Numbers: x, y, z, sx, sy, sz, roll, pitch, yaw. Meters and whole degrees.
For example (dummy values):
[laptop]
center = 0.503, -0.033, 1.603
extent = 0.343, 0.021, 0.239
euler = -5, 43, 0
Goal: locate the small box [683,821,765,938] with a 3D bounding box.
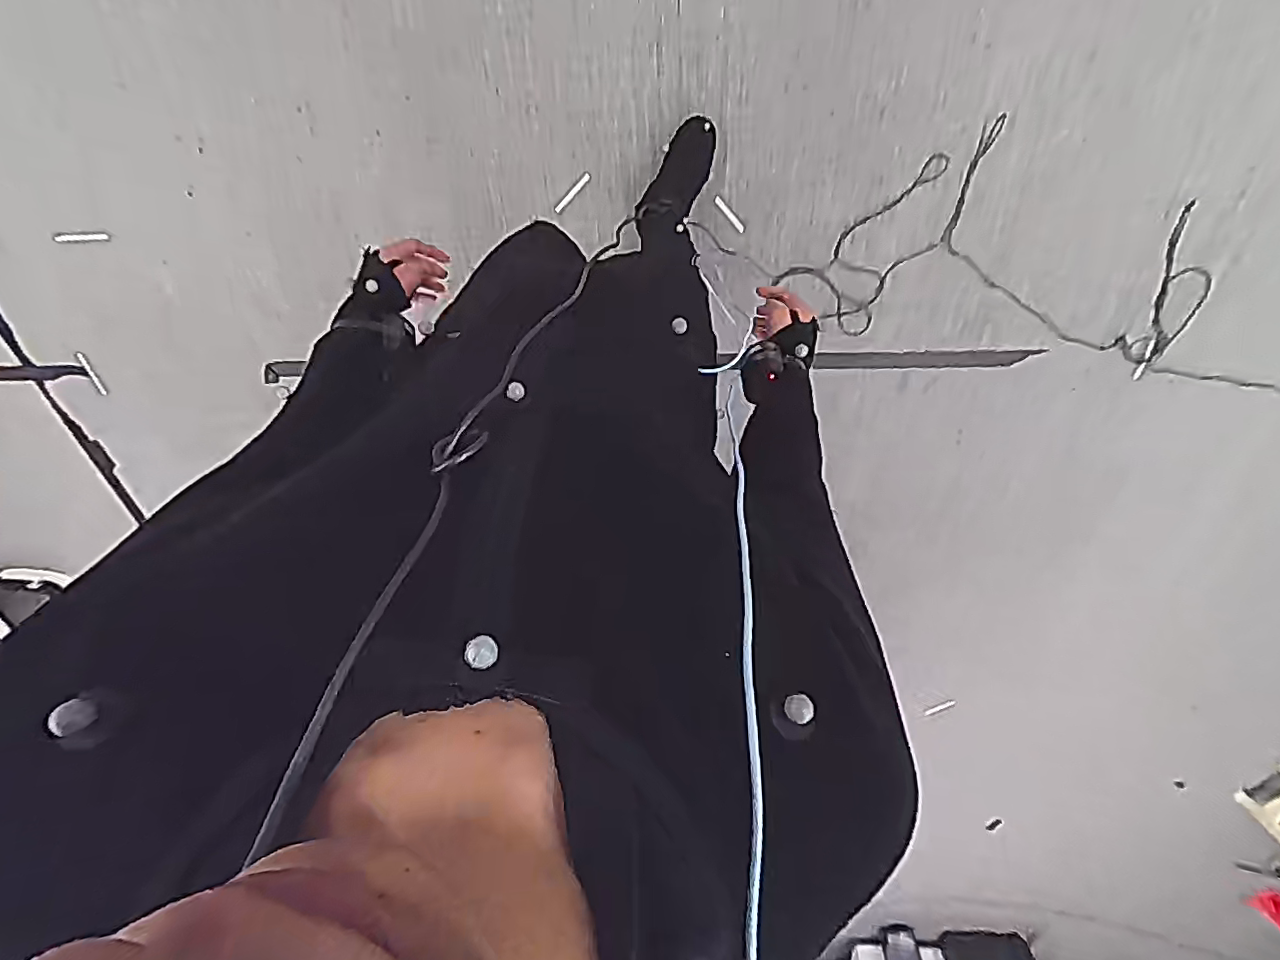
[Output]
[small box]
center = 0.182, 0.894, 1.217
extent = 0.168, 0.176, 0.179
euler = -2, 124, 5
